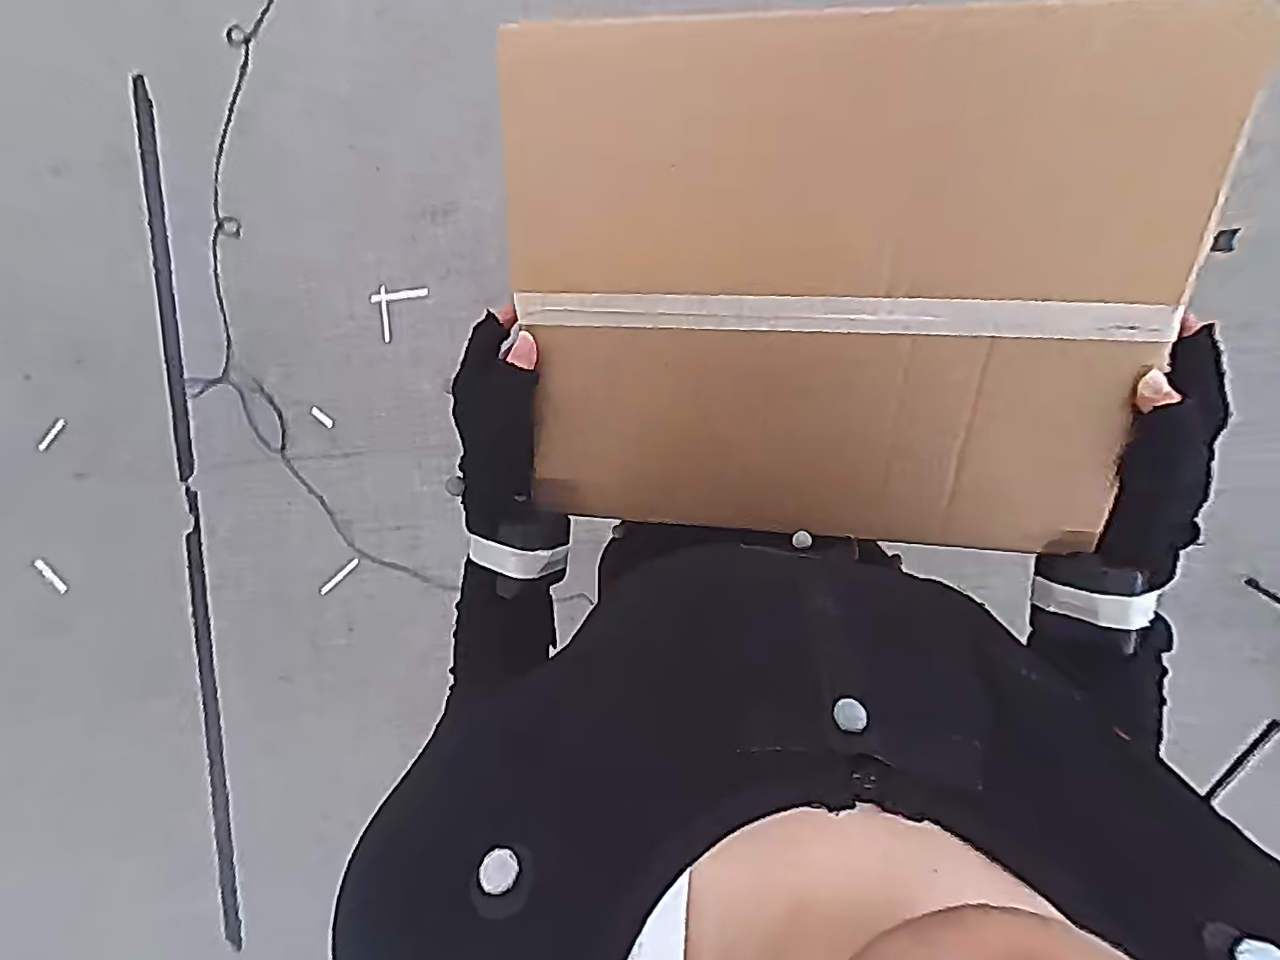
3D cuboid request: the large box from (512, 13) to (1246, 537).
[{"bbox_3d":[0.136,-0.166,0.496,0.408,0.320,0.320,4,114,7],"label":"large box"}]
